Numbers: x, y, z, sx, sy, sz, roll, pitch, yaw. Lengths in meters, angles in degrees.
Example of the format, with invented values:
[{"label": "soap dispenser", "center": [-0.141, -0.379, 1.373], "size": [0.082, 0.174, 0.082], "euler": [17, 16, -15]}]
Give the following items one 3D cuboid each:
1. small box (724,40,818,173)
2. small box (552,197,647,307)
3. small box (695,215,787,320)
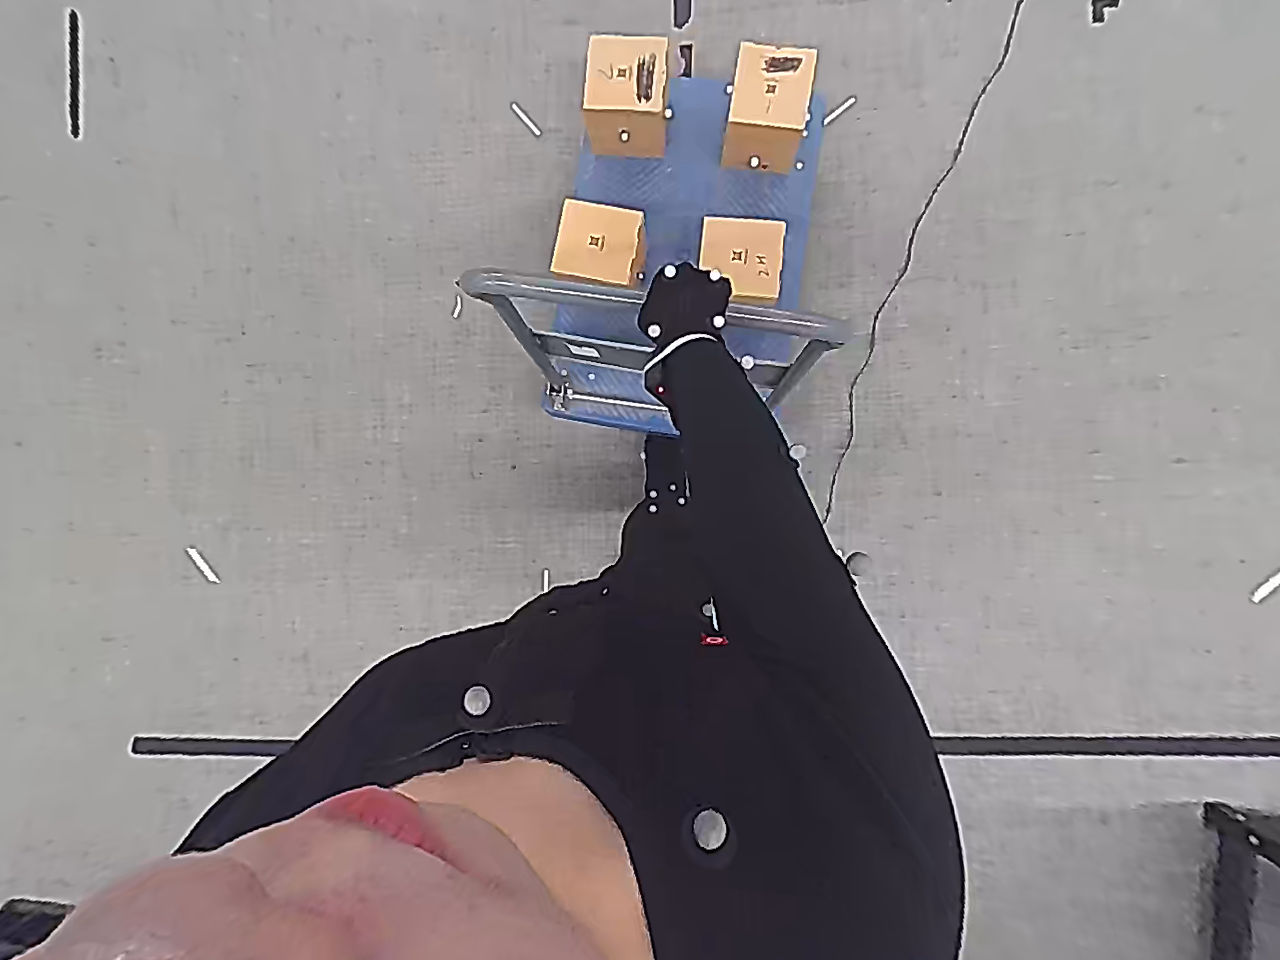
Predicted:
[{"label": "small box", "center": [0.288, -0.839, 1.225], "size": [0.168, 0.176, 0.179], "euler": [9, 90, 4]}, {"label": "small box", "center": [-0.087, -0.514, 1.242], "size": [0.179, 0.176, 0.168], "euler": [11, 89, 2]}, {"label": "small box", "center": [0.220, -0.471, 1.220], "size": [0.179, 0.176, 0.168], "euler": [6, 89, 4]}]
